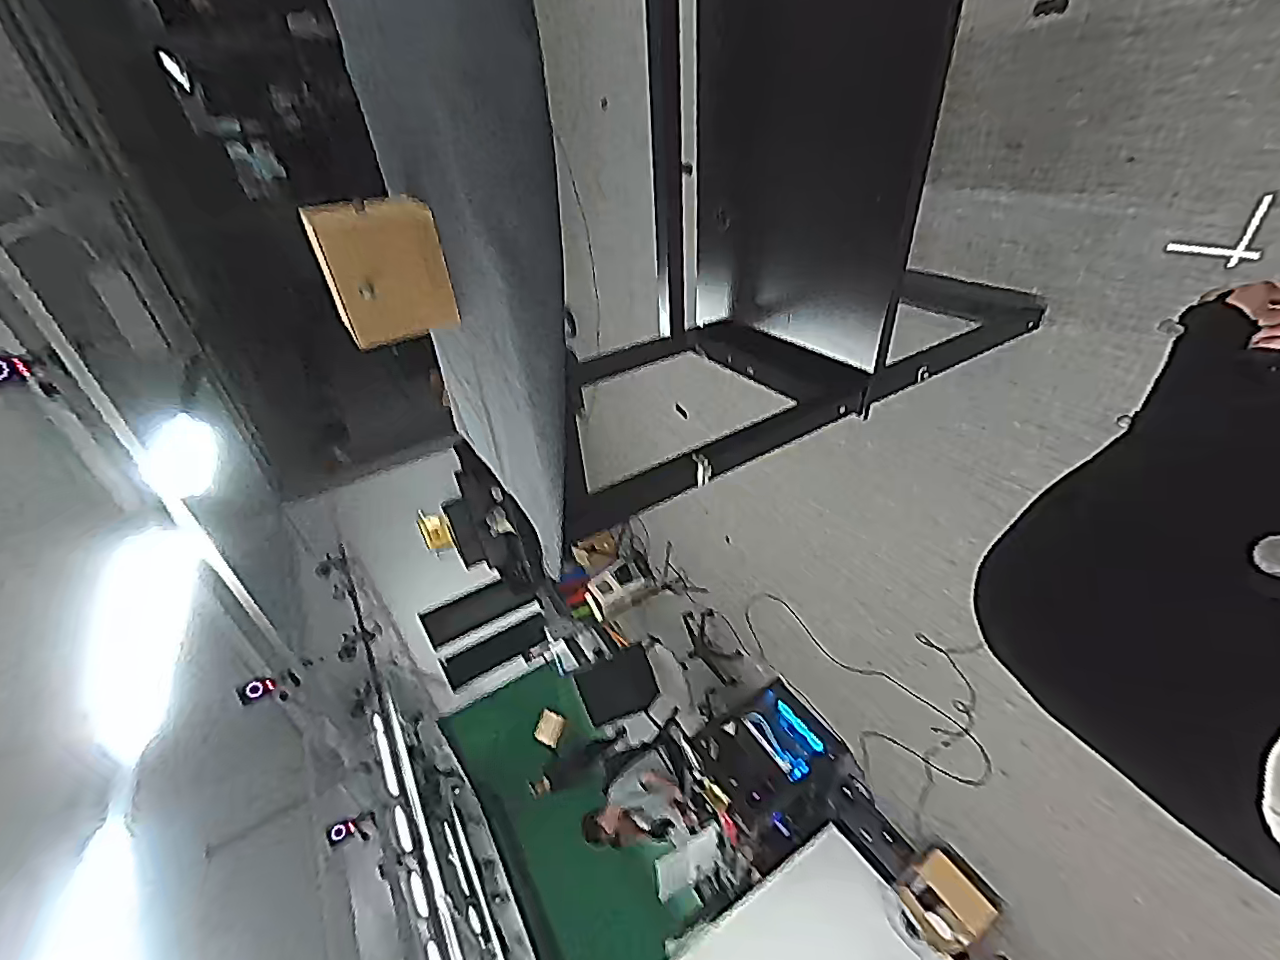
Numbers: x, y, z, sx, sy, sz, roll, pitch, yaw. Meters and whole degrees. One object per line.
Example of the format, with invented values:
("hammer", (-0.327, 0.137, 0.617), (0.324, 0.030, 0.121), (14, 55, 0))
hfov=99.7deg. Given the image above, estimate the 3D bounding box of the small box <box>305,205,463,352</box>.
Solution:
("small box", (-0.412, -0.337, 0.883), (0.168, 0.176, 0.179), (42, 147, 44))
